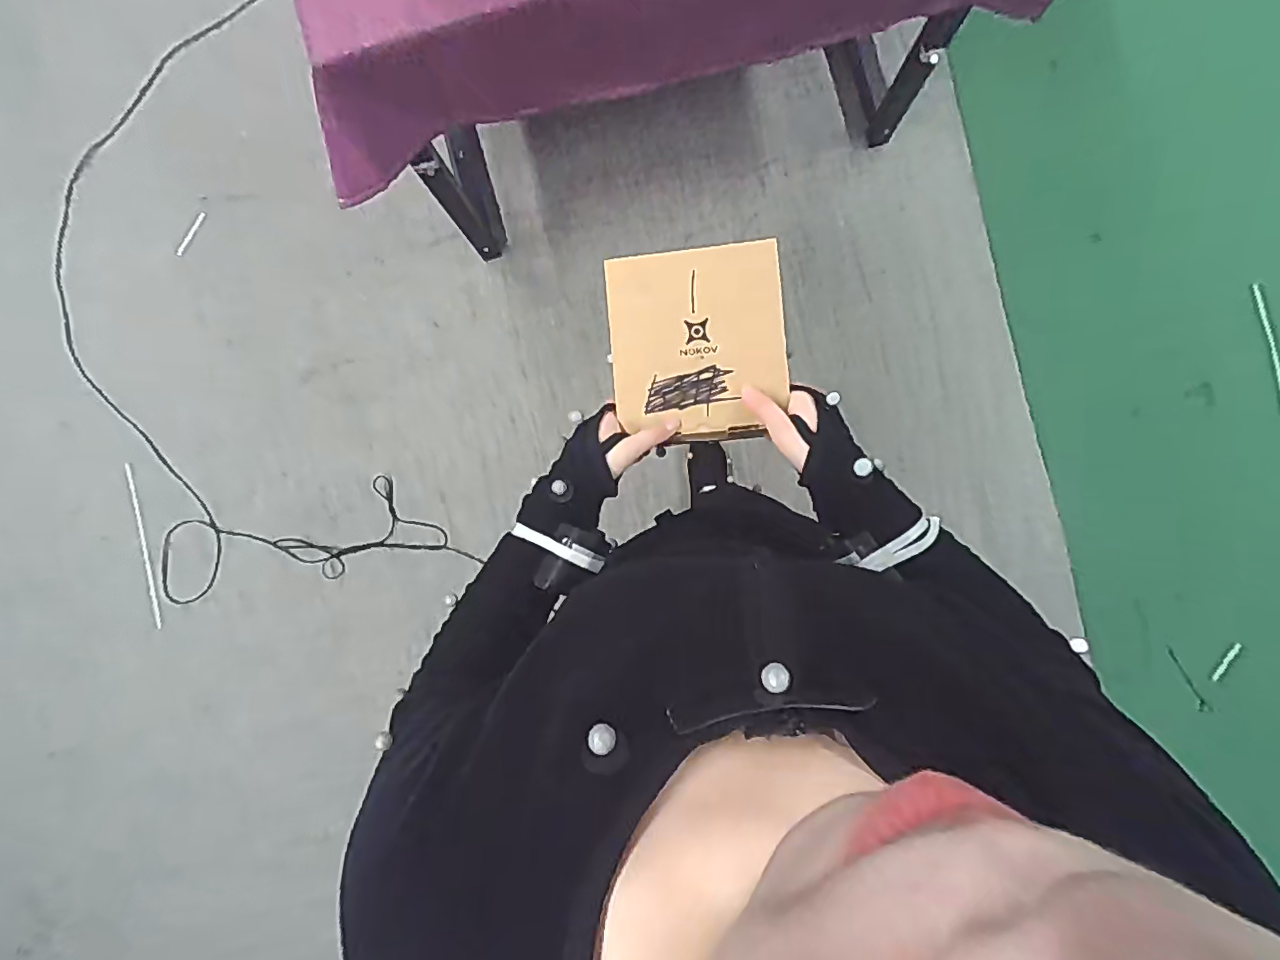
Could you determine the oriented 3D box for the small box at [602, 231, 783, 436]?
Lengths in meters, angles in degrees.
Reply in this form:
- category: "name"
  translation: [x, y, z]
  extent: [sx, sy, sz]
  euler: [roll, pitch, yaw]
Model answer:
- category: "small box"
  translation: [0.058, -0.141, 0.591]
  extent: [0.168, 0.176, 0.179]
  euler: [-5, 89, 6]
